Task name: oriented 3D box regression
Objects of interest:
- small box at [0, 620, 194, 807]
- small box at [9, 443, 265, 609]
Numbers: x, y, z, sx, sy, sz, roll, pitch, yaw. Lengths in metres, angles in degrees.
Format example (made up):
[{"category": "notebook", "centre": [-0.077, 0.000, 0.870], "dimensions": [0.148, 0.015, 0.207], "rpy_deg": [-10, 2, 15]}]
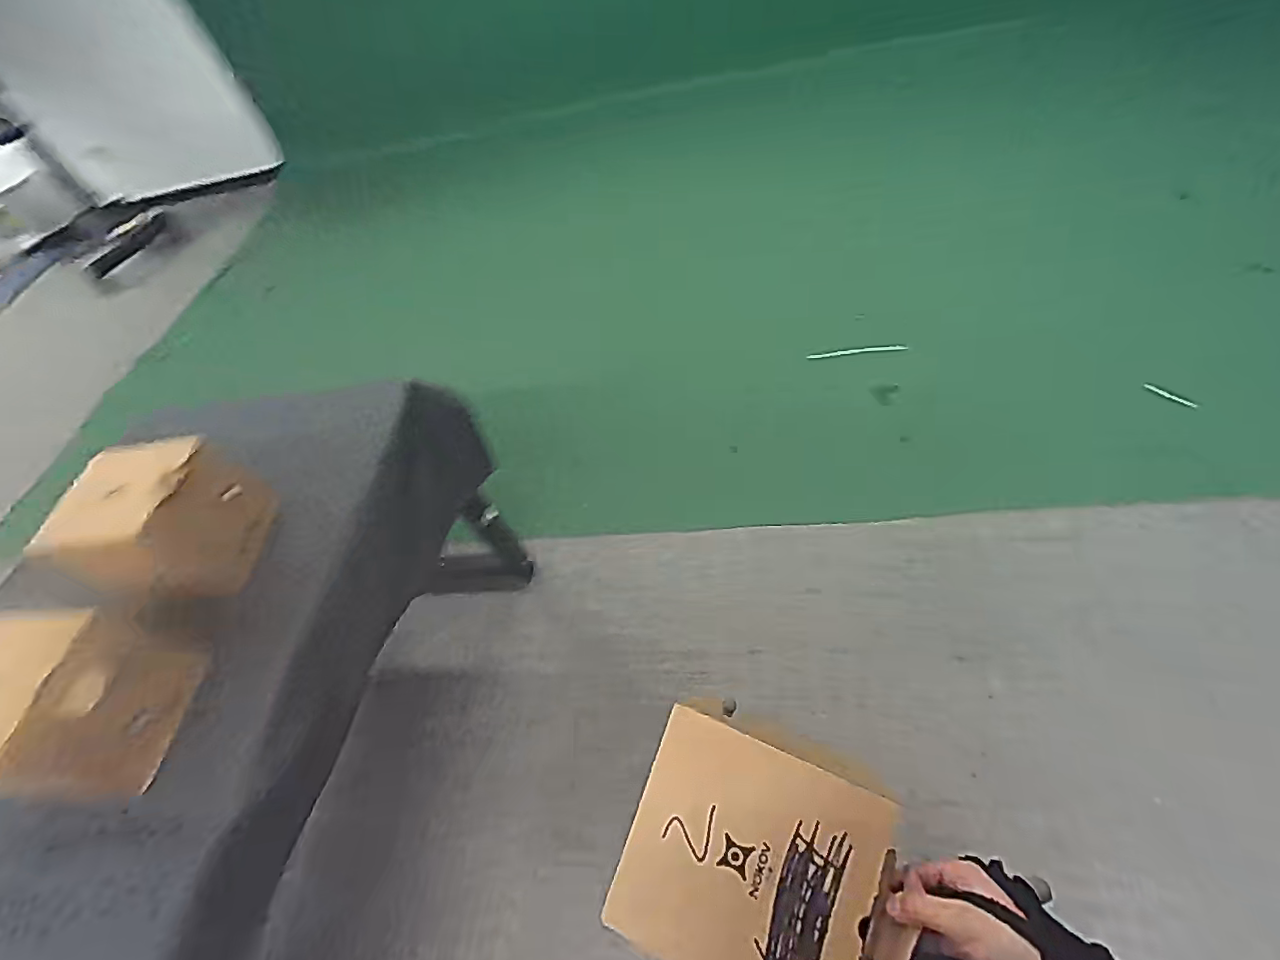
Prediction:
[{"category": "small box", "centre": [-0.691, 0.275, 0.626], "dimensions": [0.179, 0.176, 0.168], "rpy_deg": [-6, 53, 10]}, {"category": "small box", "centre": [-0.694, 0.072, 0.775], "dimensions": [0.179, 0.176, 0.168], "rpy_deg": [-8, 52, 9]}]
